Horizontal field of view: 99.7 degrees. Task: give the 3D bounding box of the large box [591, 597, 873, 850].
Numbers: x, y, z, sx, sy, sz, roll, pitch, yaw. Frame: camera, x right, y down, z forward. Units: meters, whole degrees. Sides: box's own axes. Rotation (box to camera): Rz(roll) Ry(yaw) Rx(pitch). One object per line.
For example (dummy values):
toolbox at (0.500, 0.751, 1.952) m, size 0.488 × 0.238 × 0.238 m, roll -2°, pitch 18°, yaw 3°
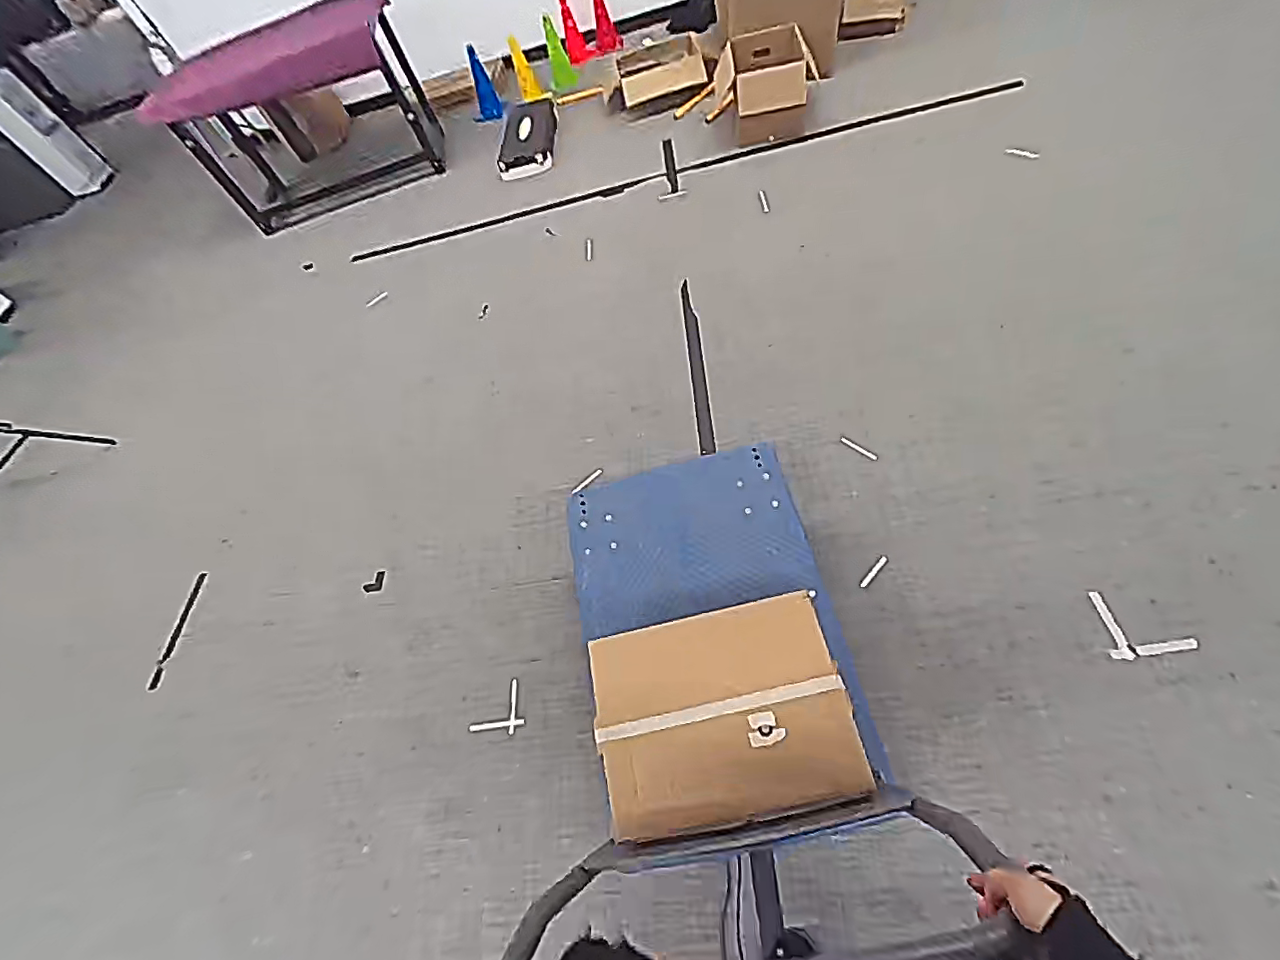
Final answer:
large box at (0.156, 0.455, 1.018) m, size 0.408 × 0.320 × 0.320 m, roll -15°, pitch 62°, yaw 4°
